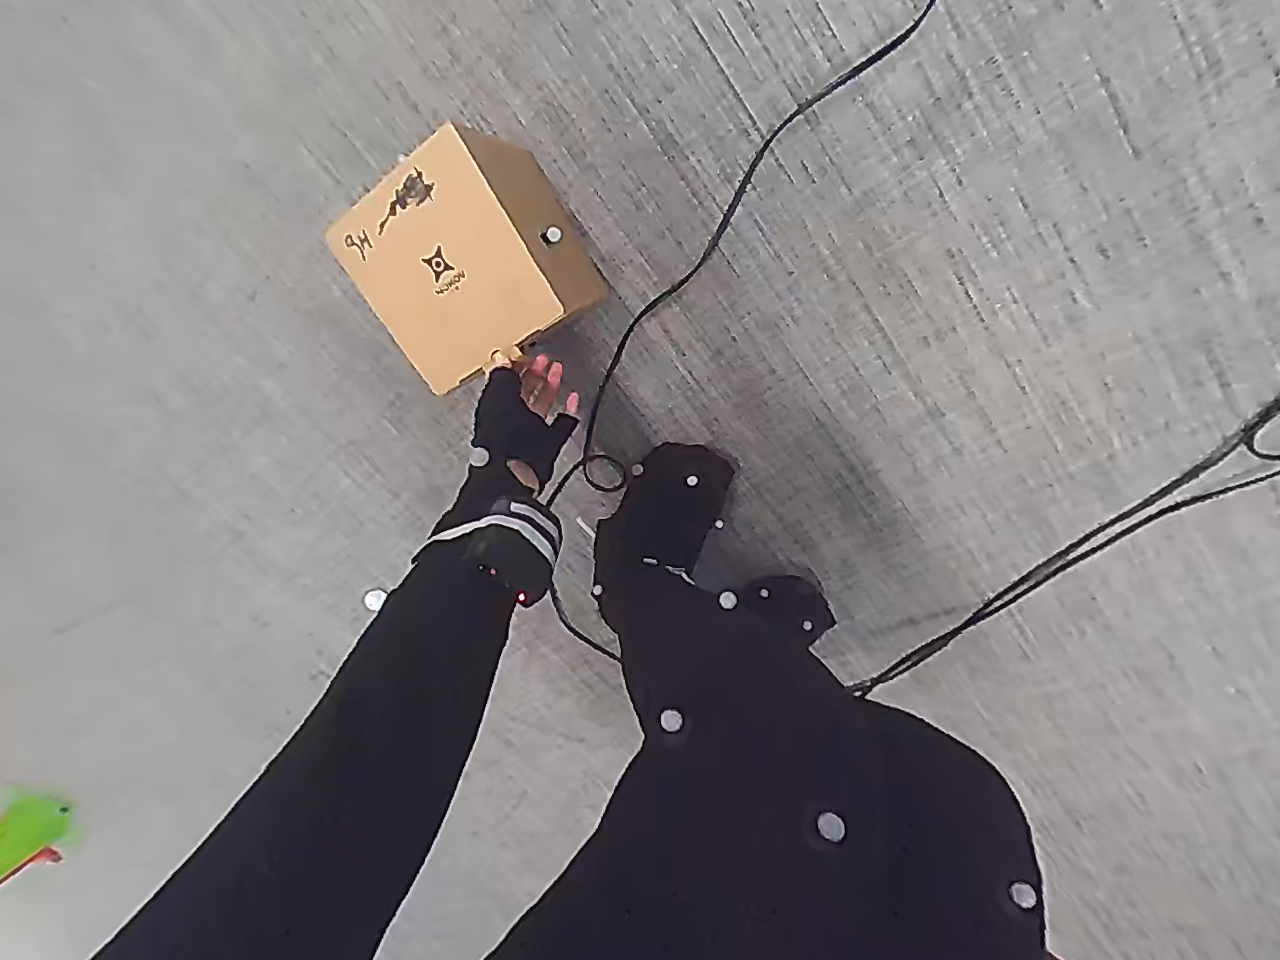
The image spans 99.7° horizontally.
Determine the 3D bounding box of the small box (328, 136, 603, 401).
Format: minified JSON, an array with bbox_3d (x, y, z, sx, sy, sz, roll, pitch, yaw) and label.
[{"bbox_3d":[-0.160,-0.213,0.558,0.168,0.176,0.179,-25,108,21],"label":"small box"}]
